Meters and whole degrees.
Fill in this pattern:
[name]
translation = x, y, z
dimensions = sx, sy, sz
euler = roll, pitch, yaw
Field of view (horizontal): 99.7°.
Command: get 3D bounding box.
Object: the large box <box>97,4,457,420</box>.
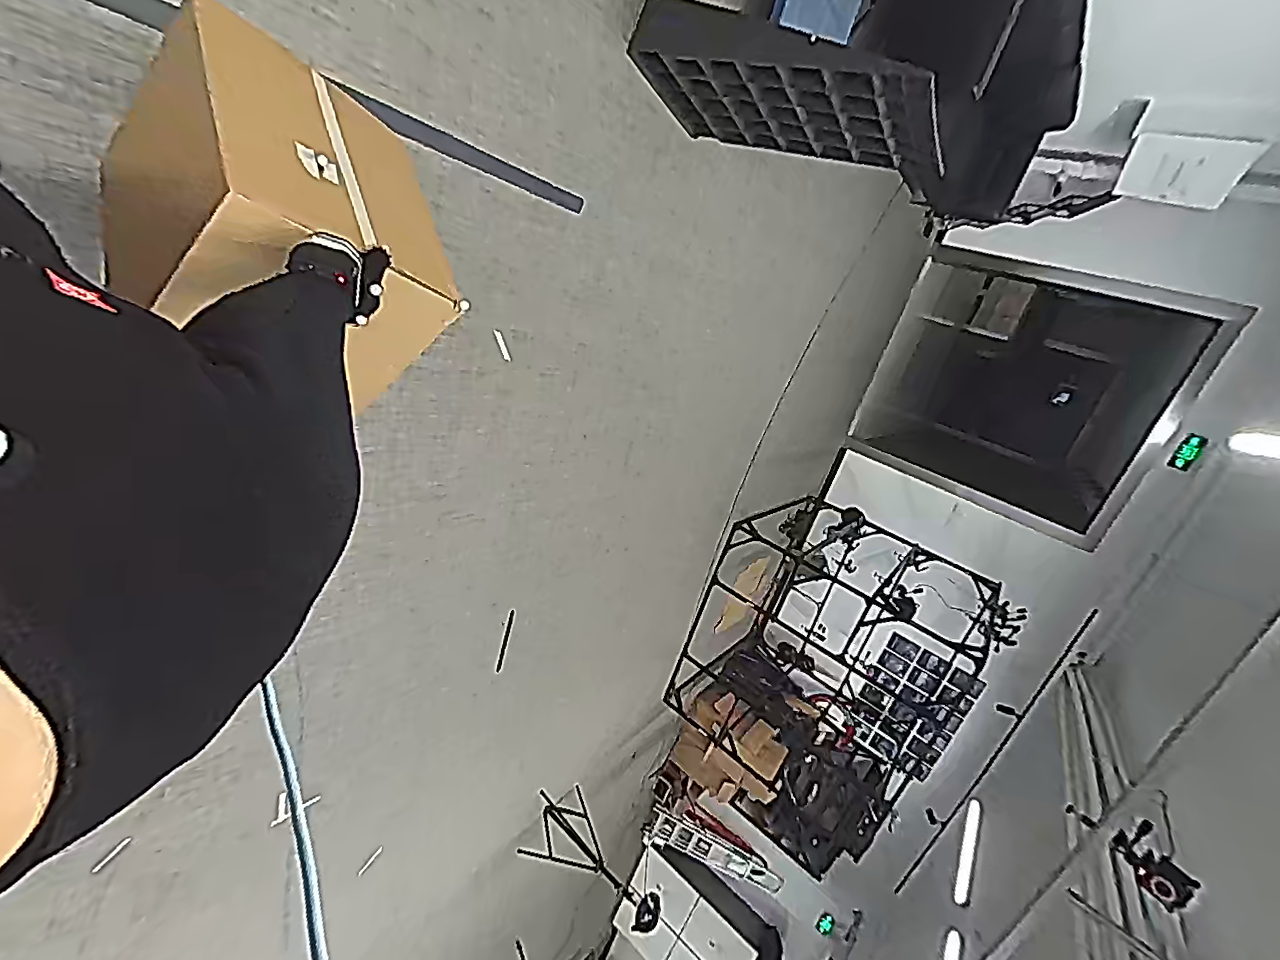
[large box]
translation = -0.550, -0.362, 0.824
dimensions = 0.320, 0.408, 0.320
euler = -33, 158, 23
